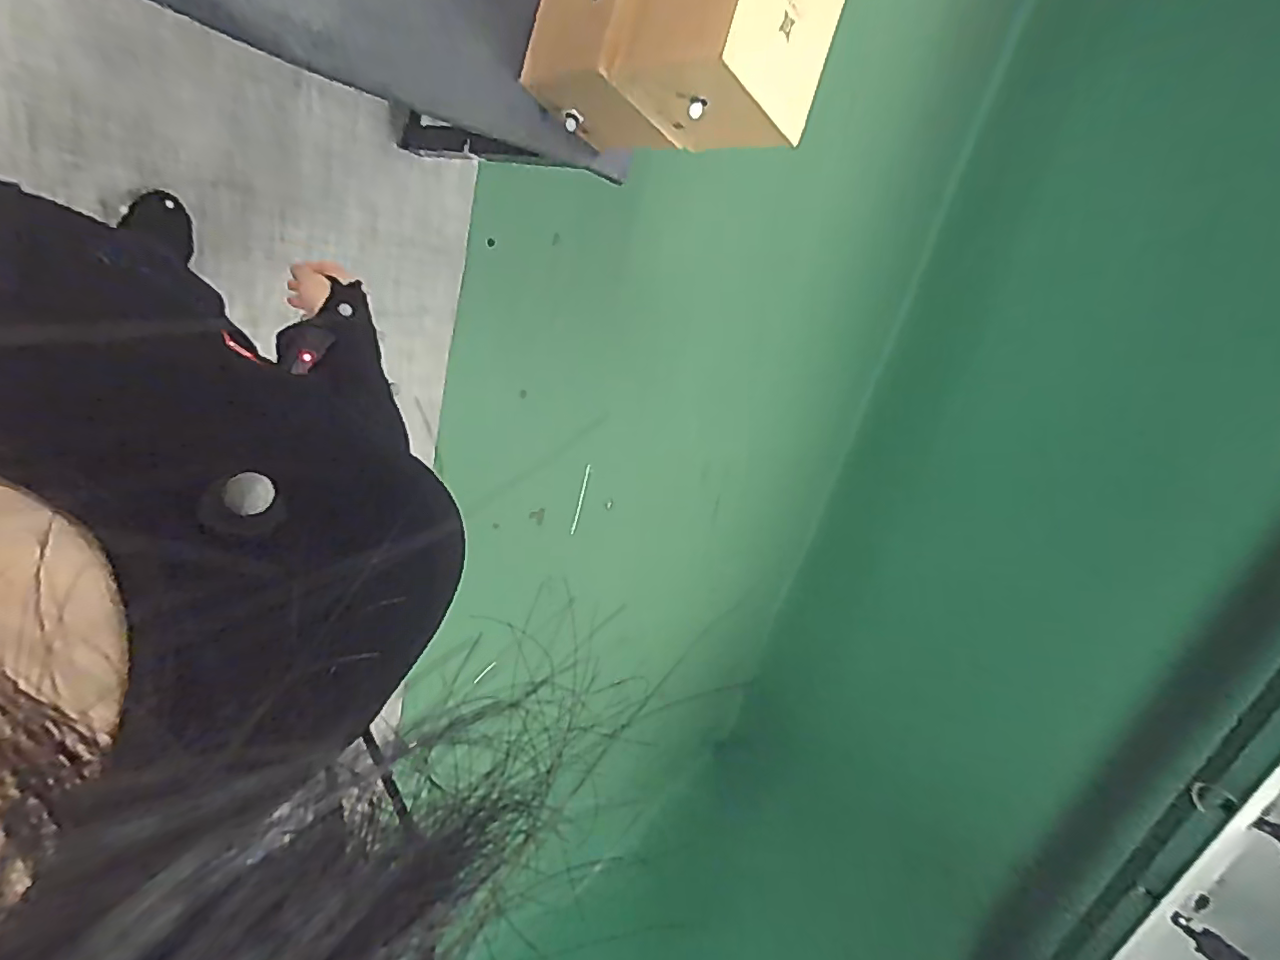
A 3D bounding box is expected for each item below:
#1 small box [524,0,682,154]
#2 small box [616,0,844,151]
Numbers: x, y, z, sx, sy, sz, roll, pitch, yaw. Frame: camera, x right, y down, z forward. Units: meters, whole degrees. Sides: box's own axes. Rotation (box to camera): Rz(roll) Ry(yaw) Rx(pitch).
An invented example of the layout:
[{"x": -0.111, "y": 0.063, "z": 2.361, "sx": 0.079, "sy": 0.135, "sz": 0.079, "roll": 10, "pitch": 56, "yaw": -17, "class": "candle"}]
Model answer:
[{"x": -0.026, "y": -0.557, "z": 0.704, "sx": 0.168, "sy": 0.176, "sz": 0.179, "roll": 9, "pitch": 104, "yaw": -49, "class": "small box"}, {"x": 0.096, "y": -0.502, "z": 0.611, "sx": 0.168, "sy": 0.176, "sz": 0.179, "roll": 6, "pitch": 105, "yaw": -48, "class": "small box"}]
